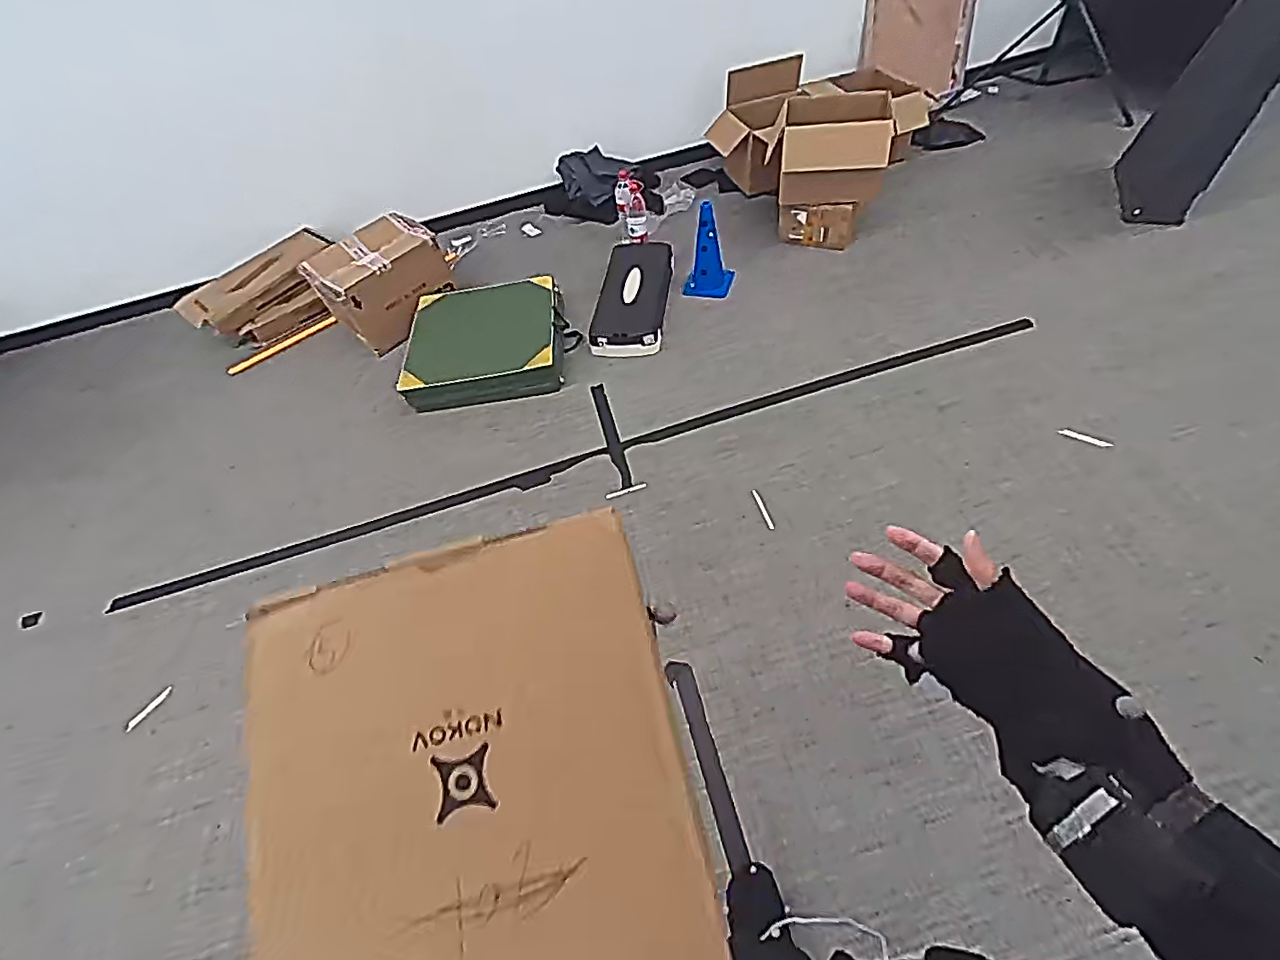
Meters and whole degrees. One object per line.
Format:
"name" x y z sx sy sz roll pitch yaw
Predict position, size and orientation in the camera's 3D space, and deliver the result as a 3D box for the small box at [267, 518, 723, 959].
"small box" -0.067 0.141 0.296 0.168 0.176 0.179 -14 71 -4
